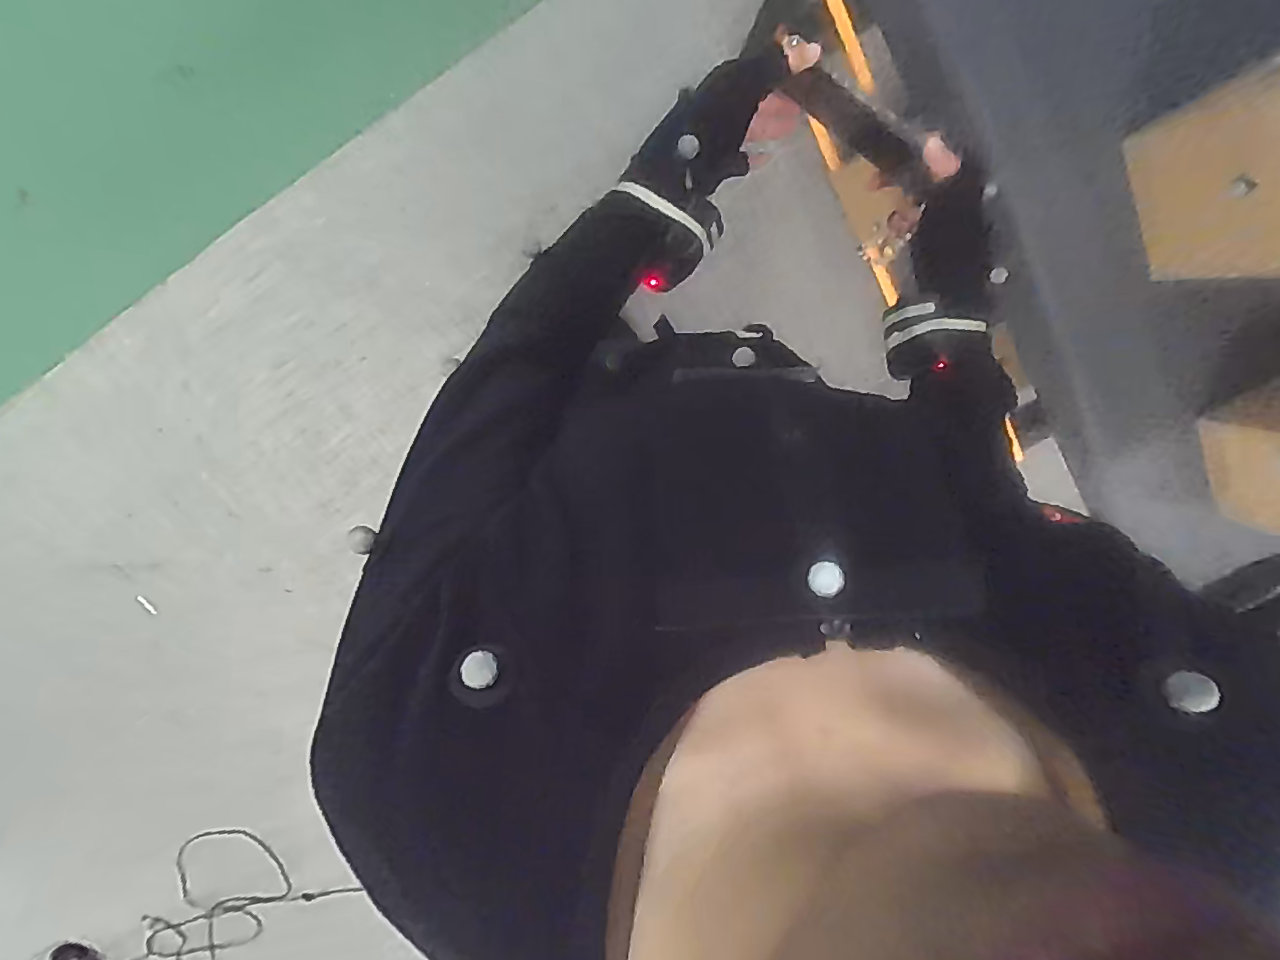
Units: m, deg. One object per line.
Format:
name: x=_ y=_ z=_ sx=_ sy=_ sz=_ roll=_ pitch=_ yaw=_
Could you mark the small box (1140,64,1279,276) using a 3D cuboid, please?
small box: x=0.672 y=-0.329 z=0.553 sx=0.168 sy=0.176 sz=0.179 roll=-28 pitch=107 yaw=8
